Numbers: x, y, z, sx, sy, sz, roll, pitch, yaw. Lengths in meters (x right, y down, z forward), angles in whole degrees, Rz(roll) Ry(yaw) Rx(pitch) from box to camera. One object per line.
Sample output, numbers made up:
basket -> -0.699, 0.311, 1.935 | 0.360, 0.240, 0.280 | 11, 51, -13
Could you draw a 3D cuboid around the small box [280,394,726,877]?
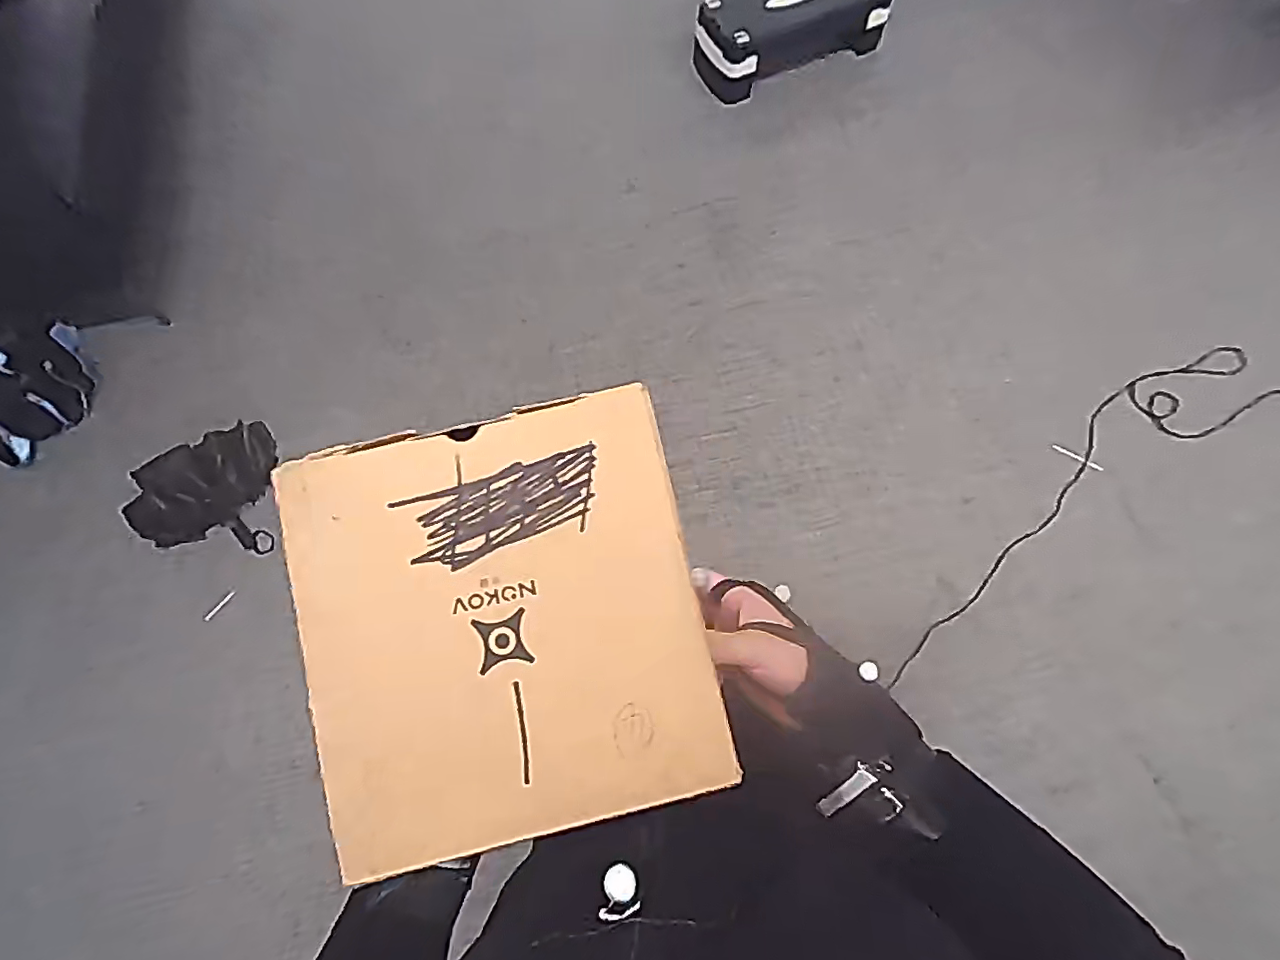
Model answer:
small box -> -0.064, 0.071, 0.314 | 0.168, 0.176, 0.179 | -14, 84, -3
